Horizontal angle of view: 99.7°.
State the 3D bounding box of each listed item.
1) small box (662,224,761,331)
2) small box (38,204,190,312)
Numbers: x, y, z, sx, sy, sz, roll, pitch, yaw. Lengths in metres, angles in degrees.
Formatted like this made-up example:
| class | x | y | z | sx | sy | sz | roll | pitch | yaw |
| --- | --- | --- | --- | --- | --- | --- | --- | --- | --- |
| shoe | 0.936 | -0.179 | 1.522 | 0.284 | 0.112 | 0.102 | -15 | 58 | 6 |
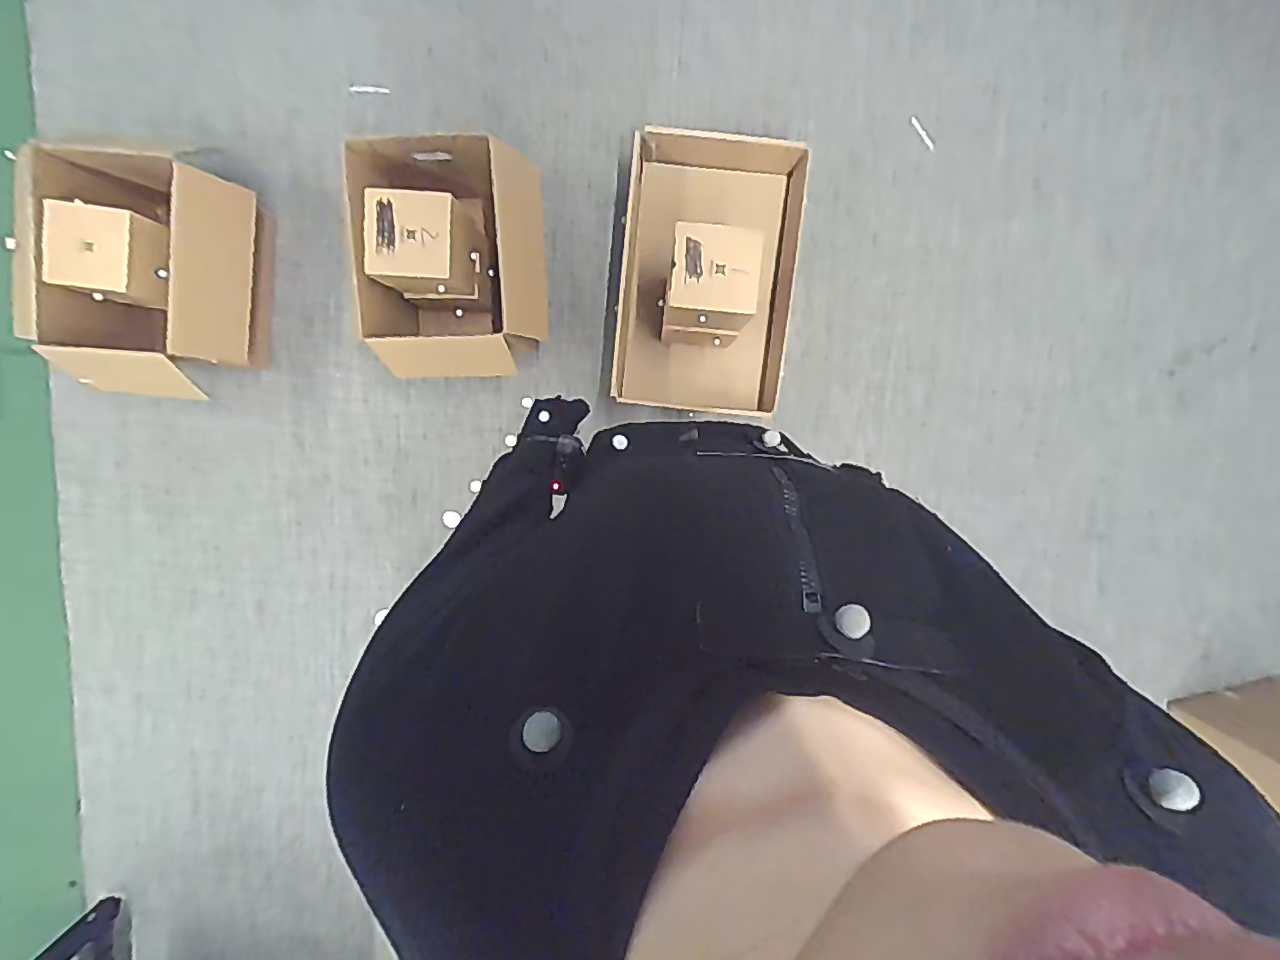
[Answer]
| class | x | y | z | sx | sy | sz | roll | pitch | yaw |
| --- | --- | --- | --- | --- | --- | --- | --- | --- | --- |
| small box | 0.142 | -0.417 | 1.138 | 0.179 | 0.176 | 0.168 | 5 | 94 | -1 |
| small box | -1.126 | -0.470 | 1.170 | 0.179 | 0.176 | 0.168 | 7 | 95 | -1 |
